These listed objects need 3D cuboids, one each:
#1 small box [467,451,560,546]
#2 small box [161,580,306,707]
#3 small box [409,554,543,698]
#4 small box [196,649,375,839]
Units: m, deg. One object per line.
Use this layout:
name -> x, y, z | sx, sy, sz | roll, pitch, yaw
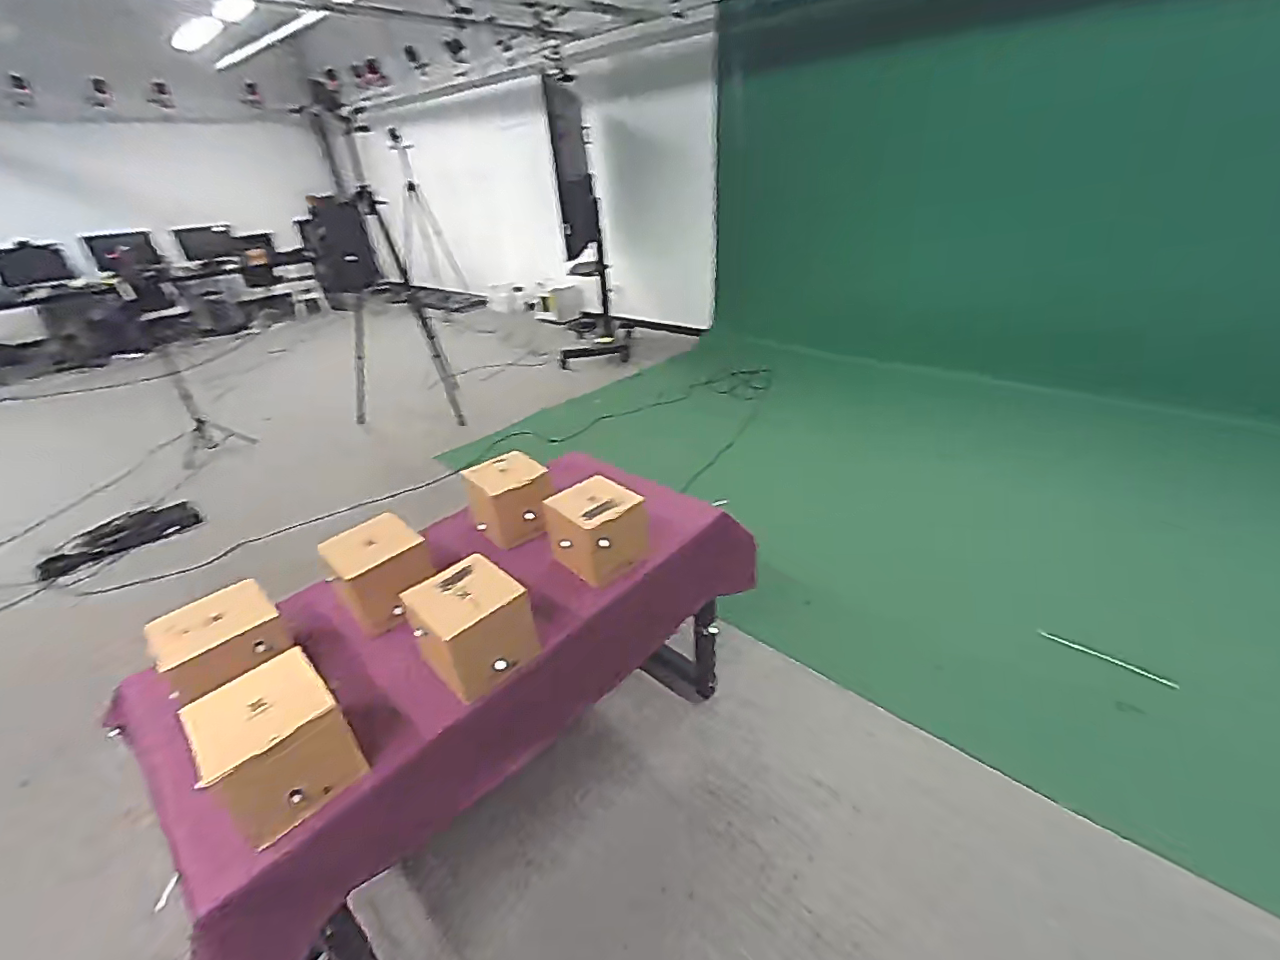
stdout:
small box -> -0.328, 0.052, 1.424 | 0.168, 0.176, 0.179 | -26, 37, -32
small box -> -0.749, 0.329, 1.022 | 0.168, 0.176, 0.179 | 23, 40, 39
small box -> -0.310, 0.278, 1.037 | 0.179, 0.176, 0.168 | 24, 41, 39
small box -> -0.552, 0.411, 0.853 | 0.179, 0.176, 0.168 | 23, 40, 39
